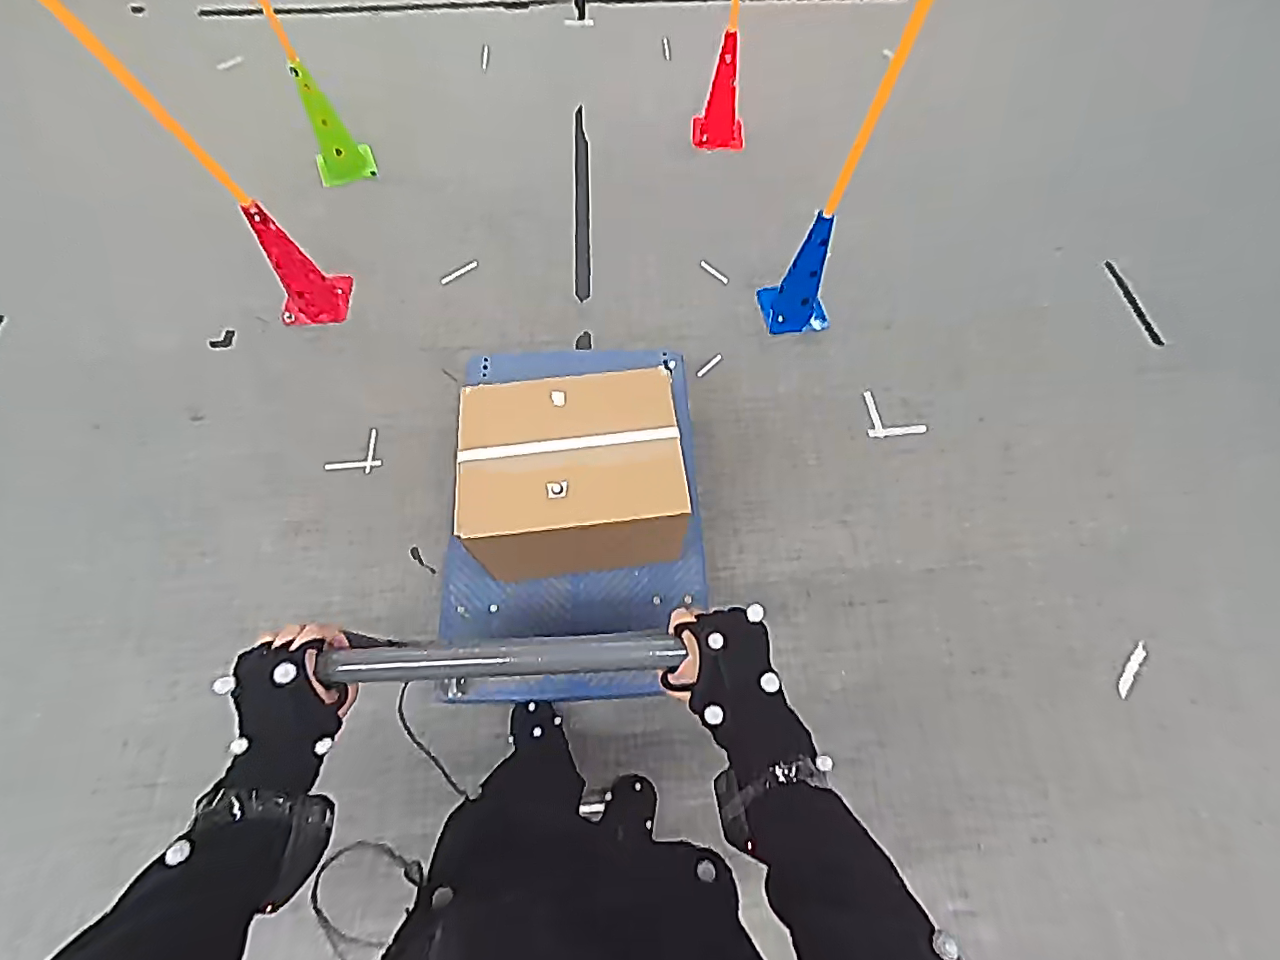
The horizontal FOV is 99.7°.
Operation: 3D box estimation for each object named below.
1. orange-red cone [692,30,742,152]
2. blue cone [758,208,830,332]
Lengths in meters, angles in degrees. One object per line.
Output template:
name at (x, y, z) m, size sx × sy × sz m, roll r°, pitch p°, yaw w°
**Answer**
orange-red cone at (0.313, -1.450, 2.000) m, size 0.199 × 0.360 × 0.198 m, roll 3°, pitch 65°, yaw 0°
blue cone at (0.500, -0.637, 1.633) m, size 0.193 × 0.380 × 0.192 m, roll -7°, pitch 64°, yaw -4°
